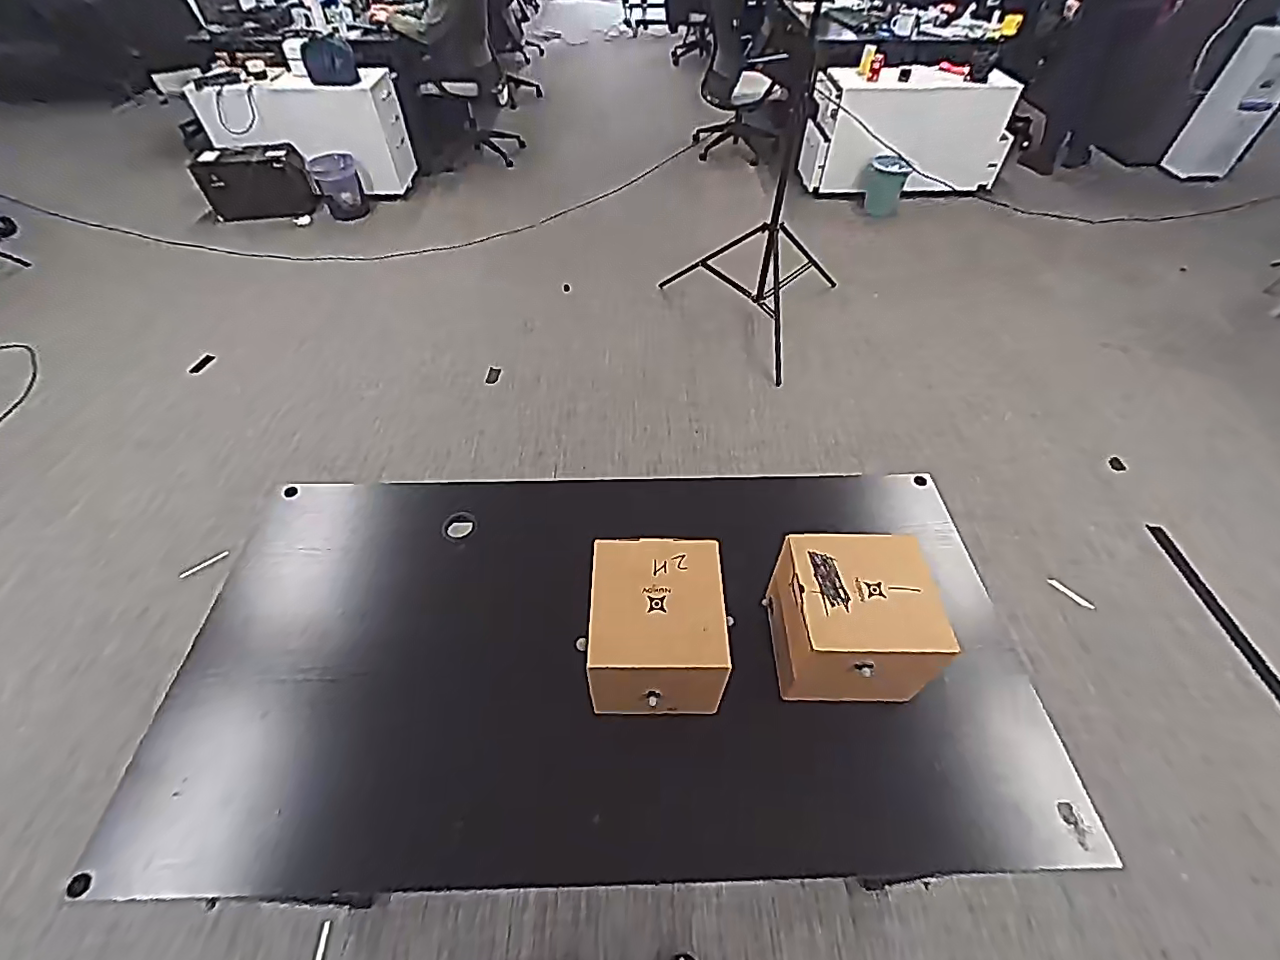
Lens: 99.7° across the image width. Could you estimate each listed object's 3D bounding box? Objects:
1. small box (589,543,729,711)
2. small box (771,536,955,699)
[{"bbox_3d":[0.025,0.203,0.737,0.168,0.176,0.179,0,50,0],"label":"small box"},{"bbox_3d":[0.285,0.192,0.745,0.179,0.176,0.168,1,50,0],"label":"small box"}]
